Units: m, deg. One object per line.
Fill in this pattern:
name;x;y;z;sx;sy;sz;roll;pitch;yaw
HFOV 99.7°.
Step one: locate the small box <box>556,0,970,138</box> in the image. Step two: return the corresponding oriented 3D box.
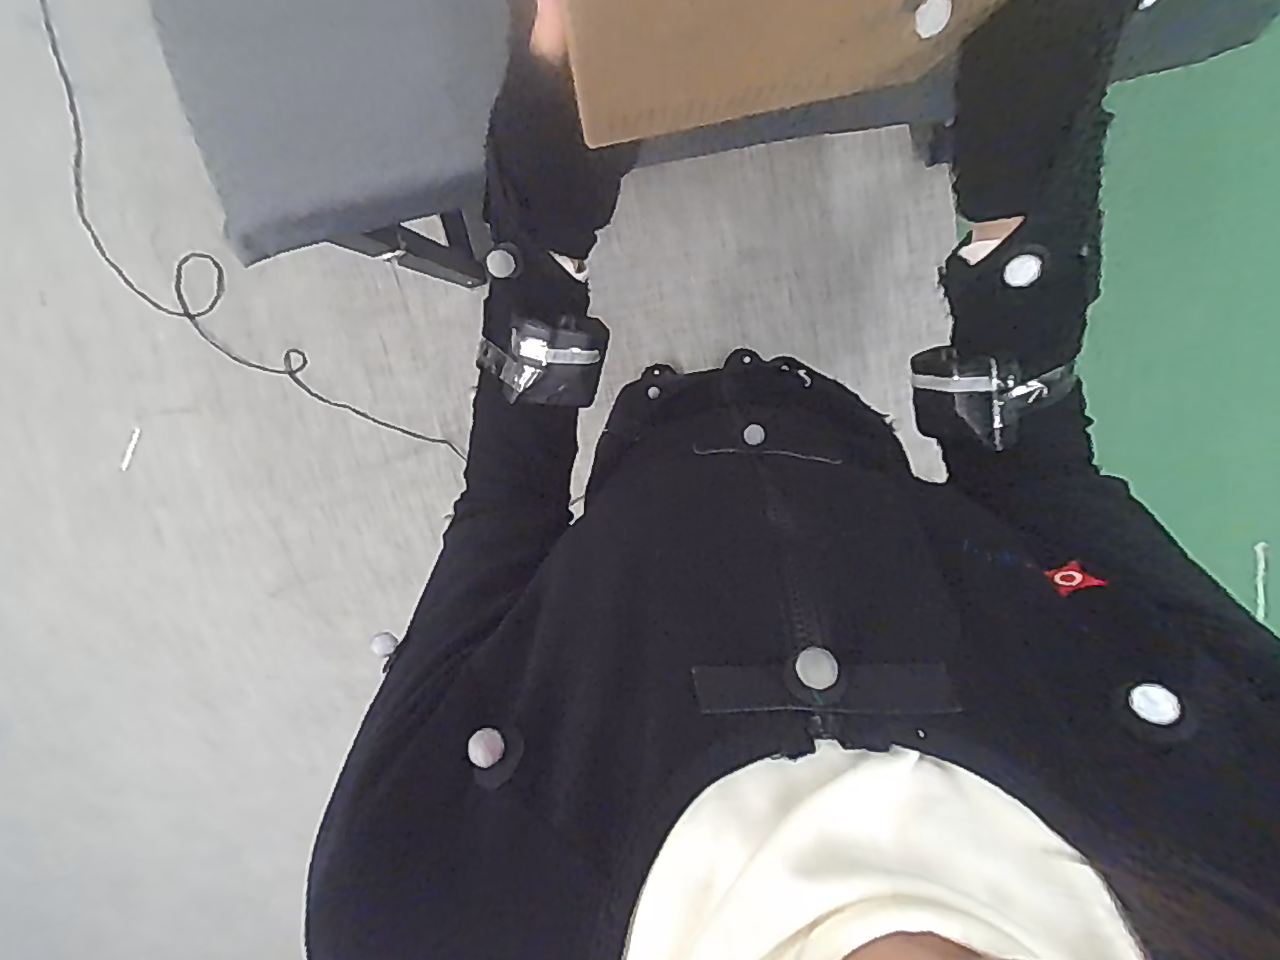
small box;0.044;-0.253;0.188;0.179;0.176;0.168;-12;103;1
